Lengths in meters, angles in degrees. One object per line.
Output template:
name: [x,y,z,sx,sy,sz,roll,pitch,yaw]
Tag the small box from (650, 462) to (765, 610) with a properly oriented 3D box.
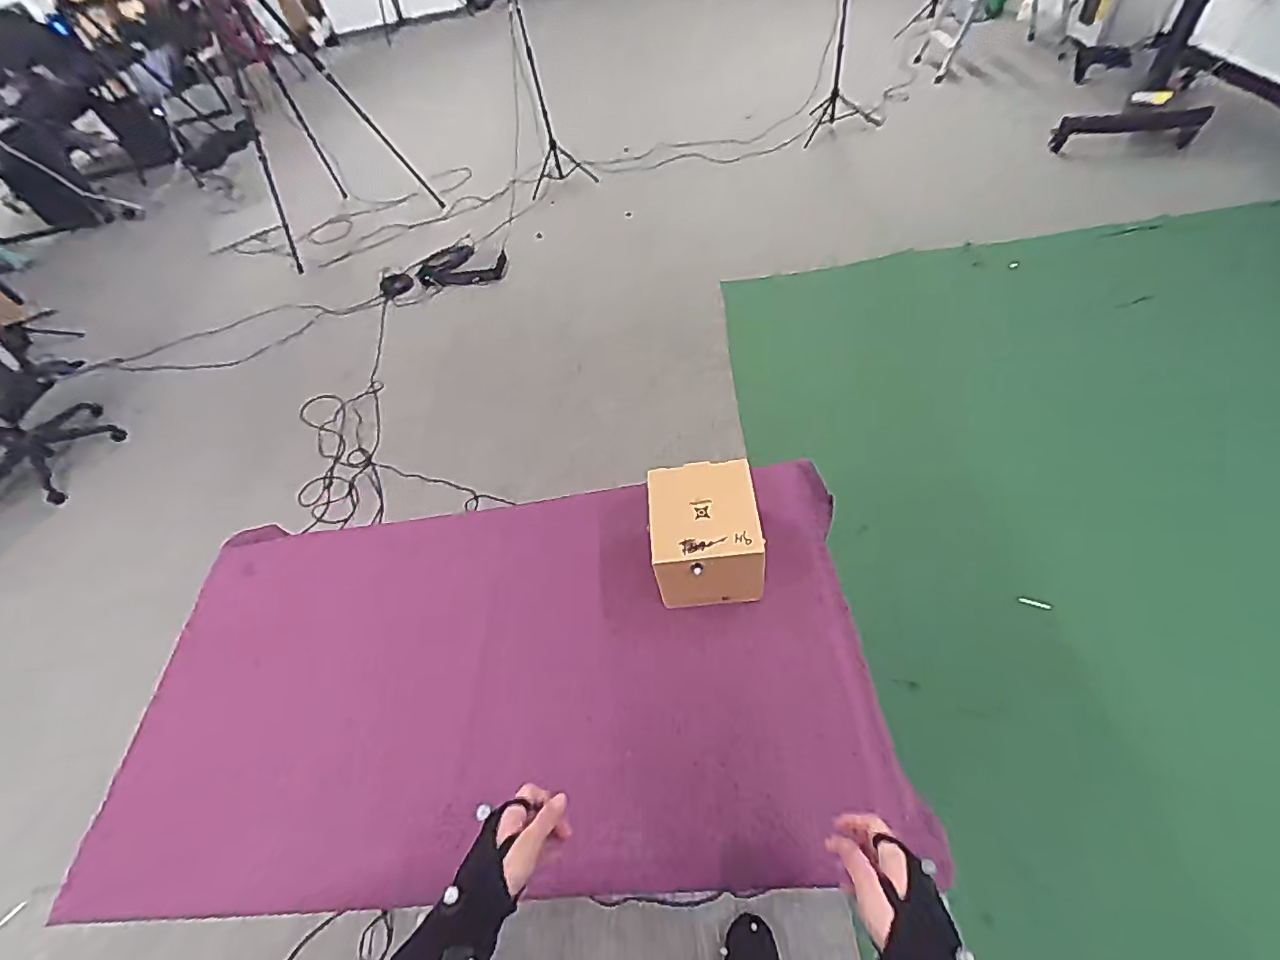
small box: [0.109,0.096,0.892,0.168,0.176,0.179,-7,52,7]
